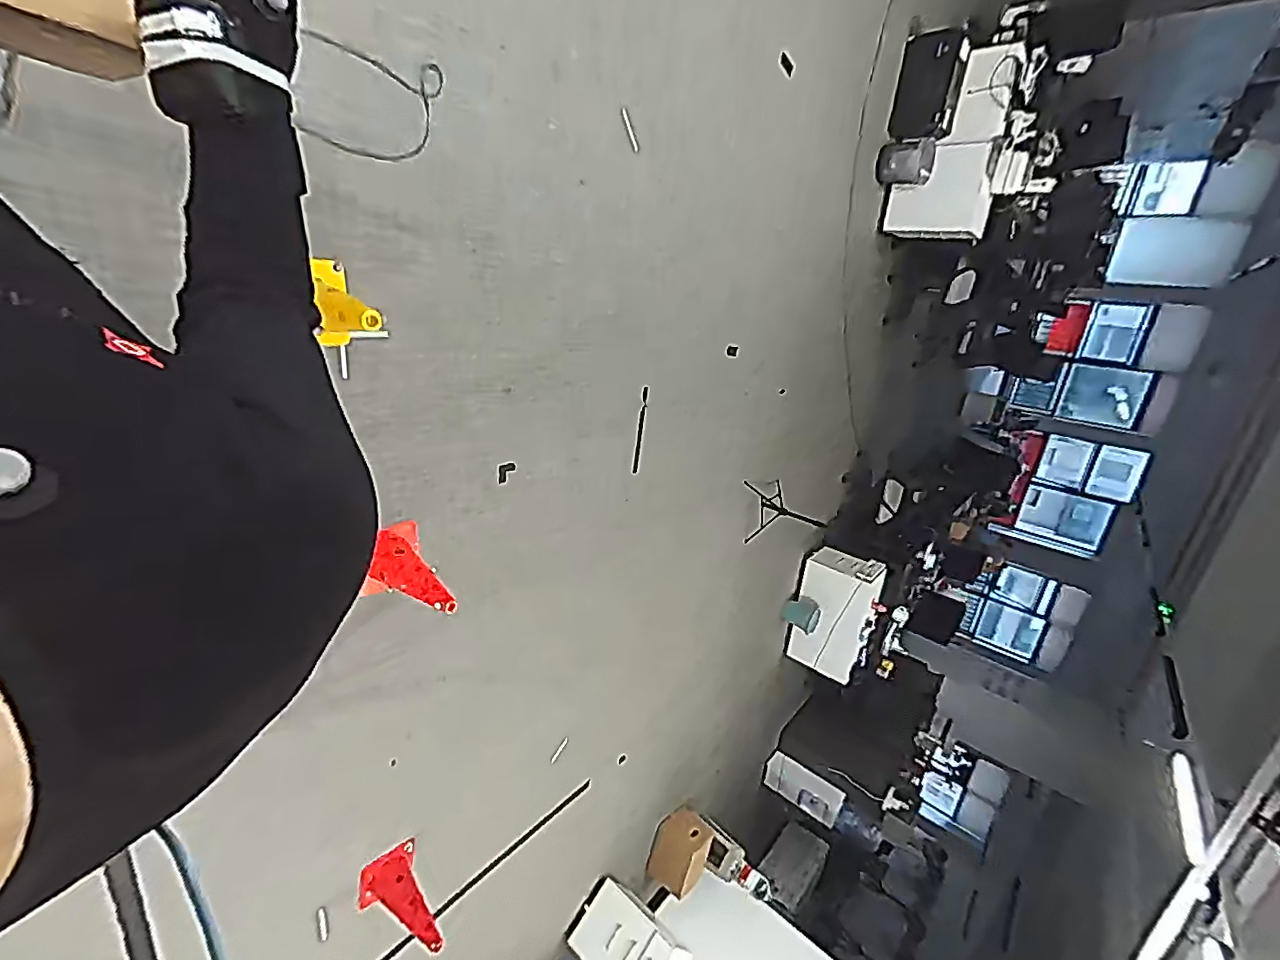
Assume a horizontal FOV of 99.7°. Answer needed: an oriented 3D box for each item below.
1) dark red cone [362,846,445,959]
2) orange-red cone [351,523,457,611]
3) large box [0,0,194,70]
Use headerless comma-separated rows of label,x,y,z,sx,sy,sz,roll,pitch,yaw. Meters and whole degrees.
dark red cone,-0.801,1.524,1.899,0.201,0.394,0.202,-8,113,-50
orange-red cone,-0.639,0.285,1.540,0.198,0.360,0.199,-20,121,-48
large box,-0.520,-0.465,0.259,0.408,0.320,0.320,-12,122,-50
